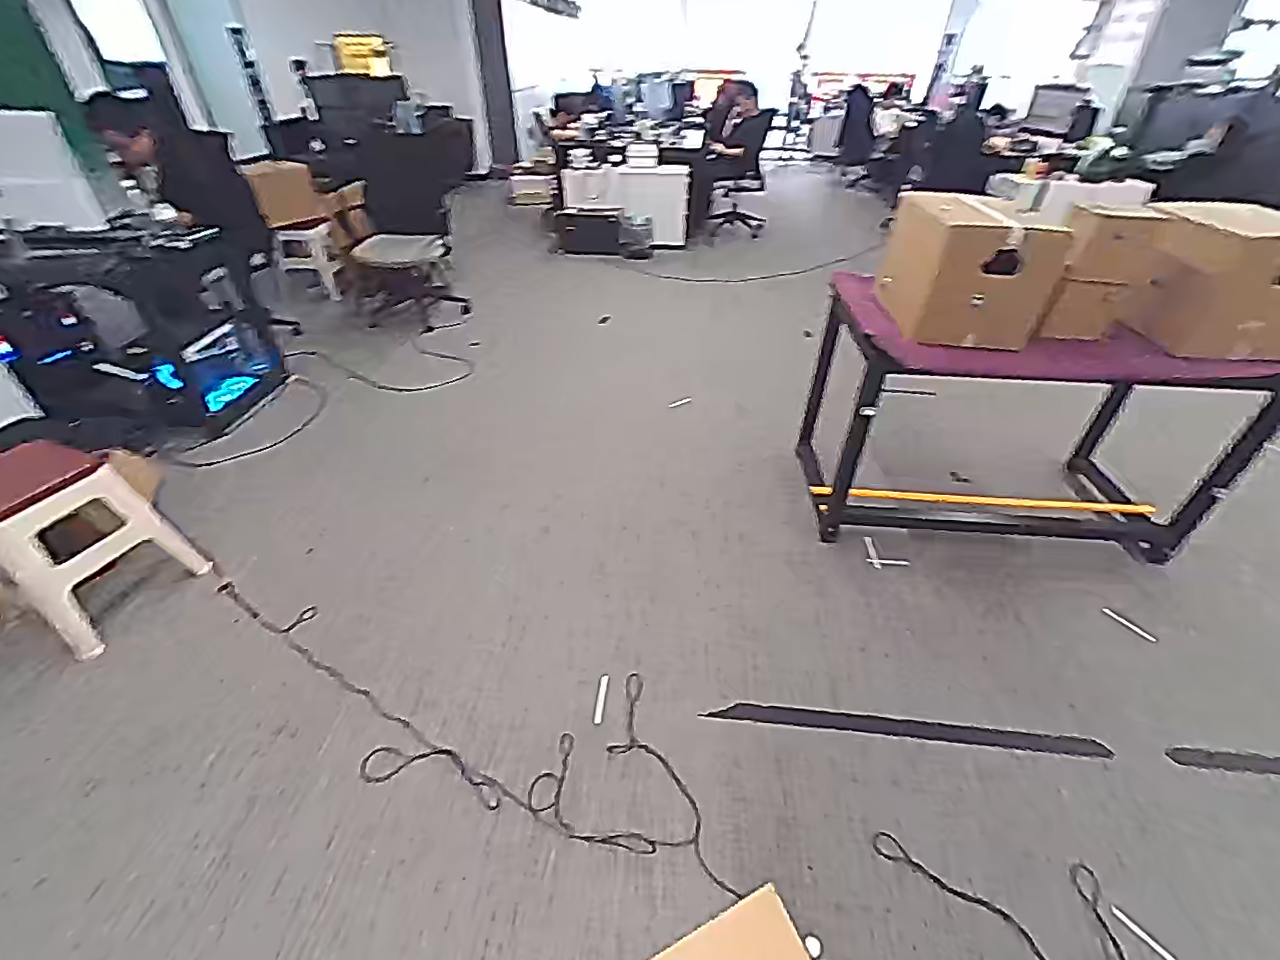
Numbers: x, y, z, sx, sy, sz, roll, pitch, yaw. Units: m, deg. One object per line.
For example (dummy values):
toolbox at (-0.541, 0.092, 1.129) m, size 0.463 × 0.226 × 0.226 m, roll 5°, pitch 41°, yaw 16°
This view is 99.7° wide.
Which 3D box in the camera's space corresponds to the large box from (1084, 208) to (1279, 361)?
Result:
large box at (1.599, -0.562, 1.532) m, size 0.320 × 0.320 × 0.408 m, roll 3°, pitch 37°, yaw 2°
